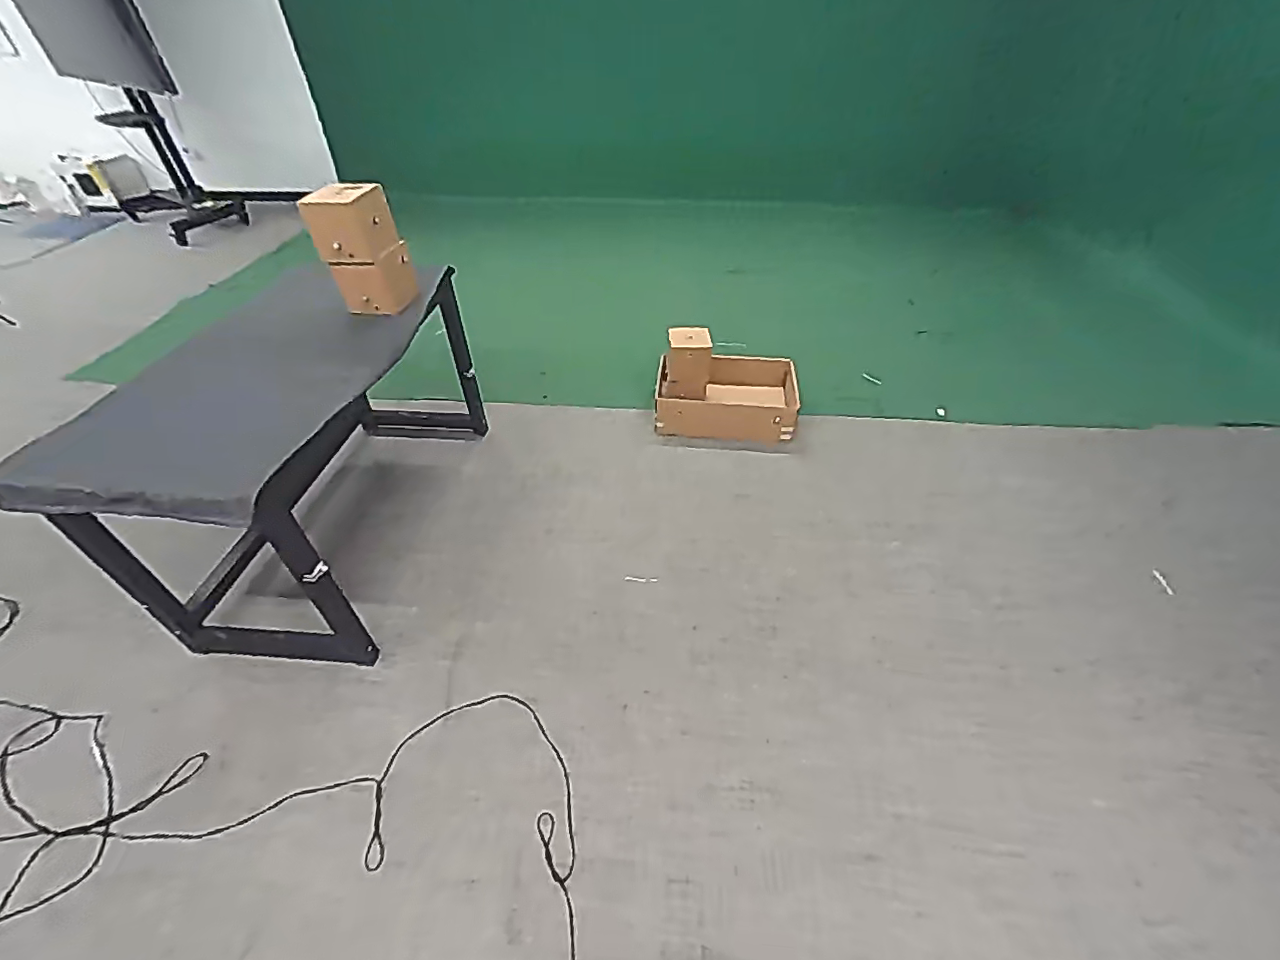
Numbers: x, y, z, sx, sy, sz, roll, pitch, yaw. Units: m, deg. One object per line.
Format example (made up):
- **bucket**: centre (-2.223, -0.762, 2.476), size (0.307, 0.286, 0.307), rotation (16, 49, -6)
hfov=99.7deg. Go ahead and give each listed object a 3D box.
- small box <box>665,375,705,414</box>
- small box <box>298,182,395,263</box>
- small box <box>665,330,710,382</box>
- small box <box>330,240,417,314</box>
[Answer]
- **small box**: centre (0.206, -0.420, 2.477), size (0.179, 0.176, 0.168), rotation (5, 44, 5)
- **small box**: centre (-0.847, -0.756, 1.586), size (0.168, 0.176, 0.179), rotation (4, 44, 7)
- **small box**: centre (0.203, -0.540, 2.365), size (0.179, 0.176, 0.168), rotation (0, 44, -4)
- **small box**: centre (-0.829, -0.645, 1.706), size (0.168, 0.176, 0.179), rotation (5, 44, 8)
